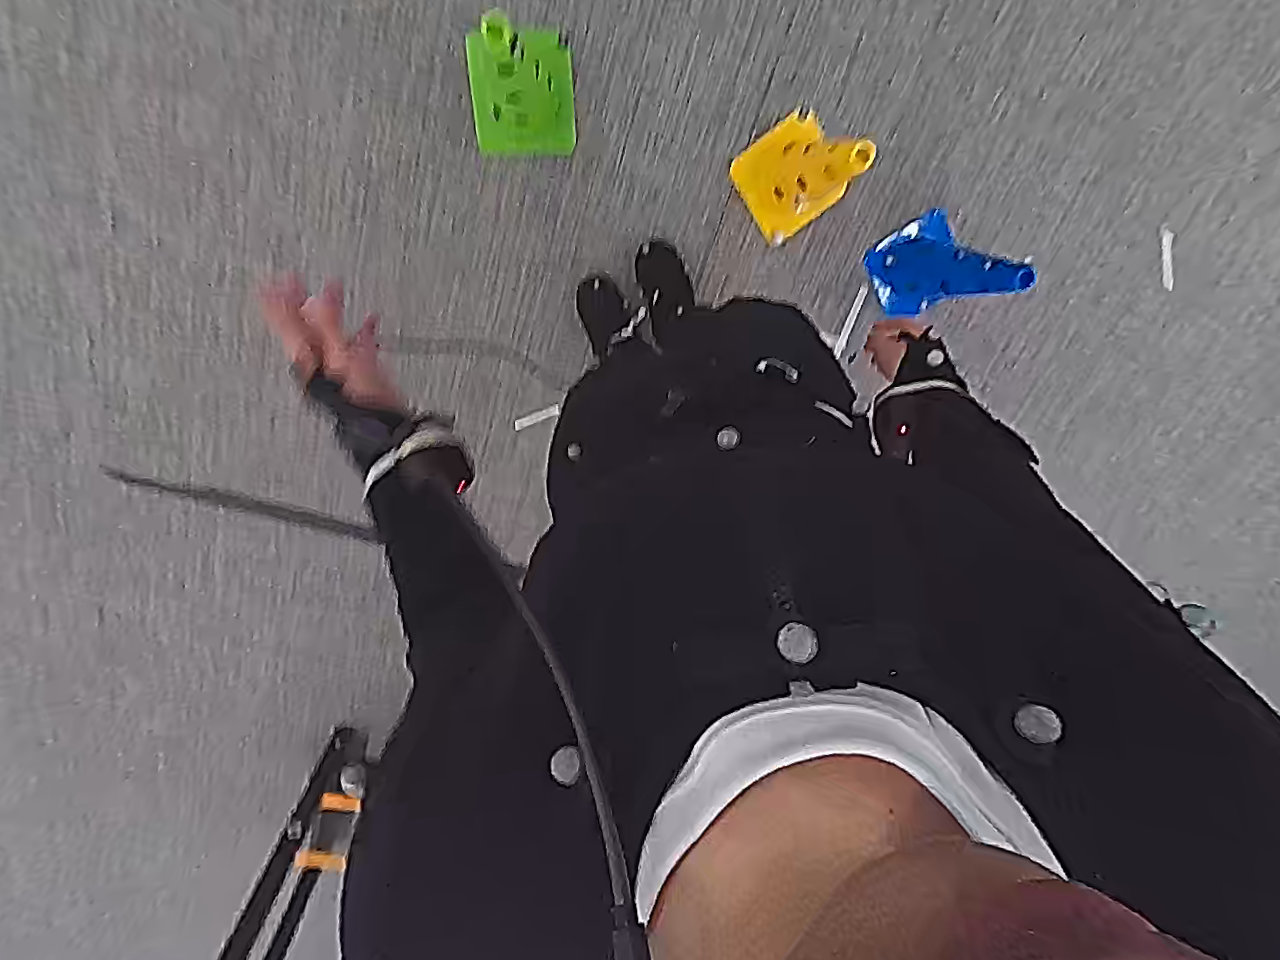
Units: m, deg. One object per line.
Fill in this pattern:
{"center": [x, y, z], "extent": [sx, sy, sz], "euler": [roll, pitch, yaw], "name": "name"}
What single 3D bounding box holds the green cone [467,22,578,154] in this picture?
{"center": [-0.217, -0.692, 0.912], "extent": [0.200, 0.368, 0.202], "euler": [-4, 115, -3], "name": "green cone"}
